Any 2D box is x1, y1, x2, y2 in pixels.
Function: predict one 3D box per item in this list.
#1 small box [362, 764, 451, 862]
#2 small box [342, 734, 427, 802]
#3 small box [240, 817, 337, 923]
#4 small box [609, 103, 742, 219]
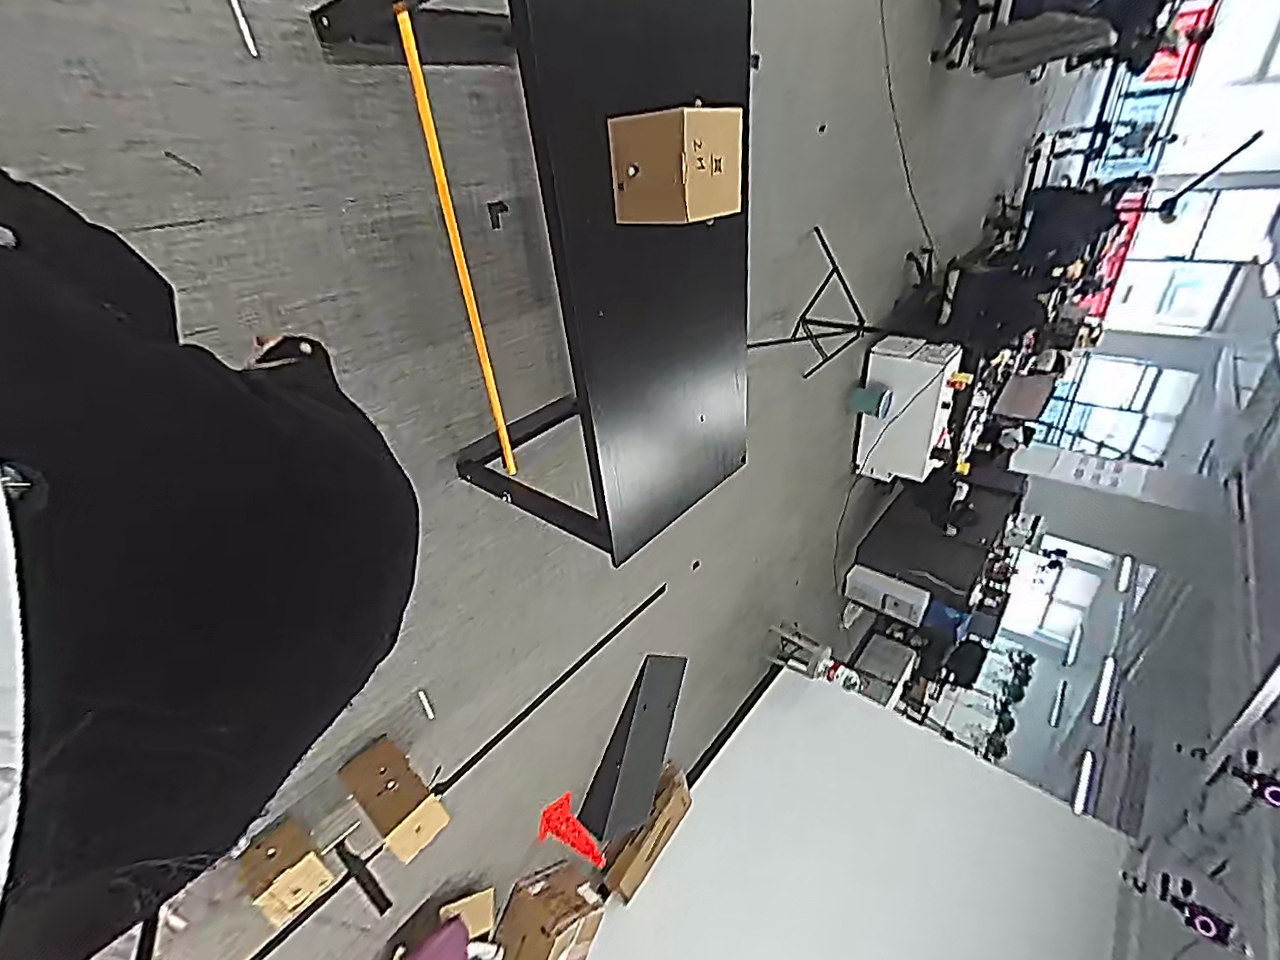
[{"bbox_3d":[-0.731,1.035,1.696,0.168,0.176,0.179,-39,132,-36],"label":"small box"},{"bbox_3d":[-0.849,0.990,1.798,0.179,0.176,0.168,-35,131,-36],"label":"small box"},{"bbox_3d":[-1.058,1.161,1.626,0.168,0.176,0.179,-34,130,-37],"label":"small box"},{"bbox_3d":[0.066,-0.573,0.979,0.179,0.176,0.168,-33,130,-38],"label":"small box"}]
